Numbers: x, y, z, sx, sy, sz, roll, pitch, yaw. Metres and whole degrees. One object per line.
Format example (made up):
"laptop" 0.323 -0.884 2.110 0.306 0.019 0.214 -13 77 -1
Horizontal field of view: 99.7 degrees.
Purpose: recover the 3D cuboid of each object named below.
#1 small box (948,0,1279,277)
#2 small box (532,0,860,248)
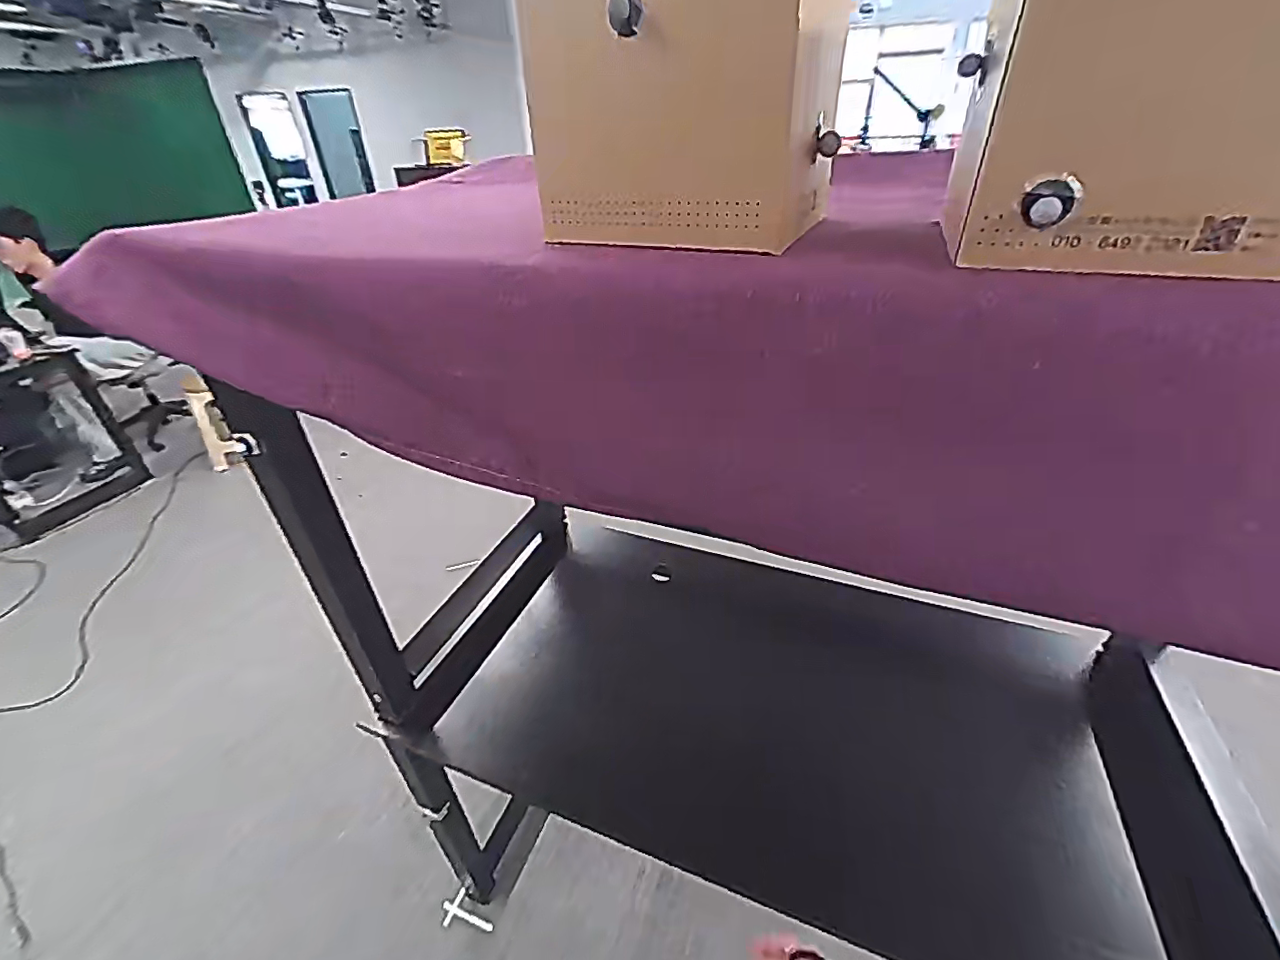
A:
"small box" 0.275 -0.210 0.280 0.168 0.176 0.179 11 35 19
"small box" 0.041 -0.263 0.375 0.179 0.176 0.168 13 37 22
